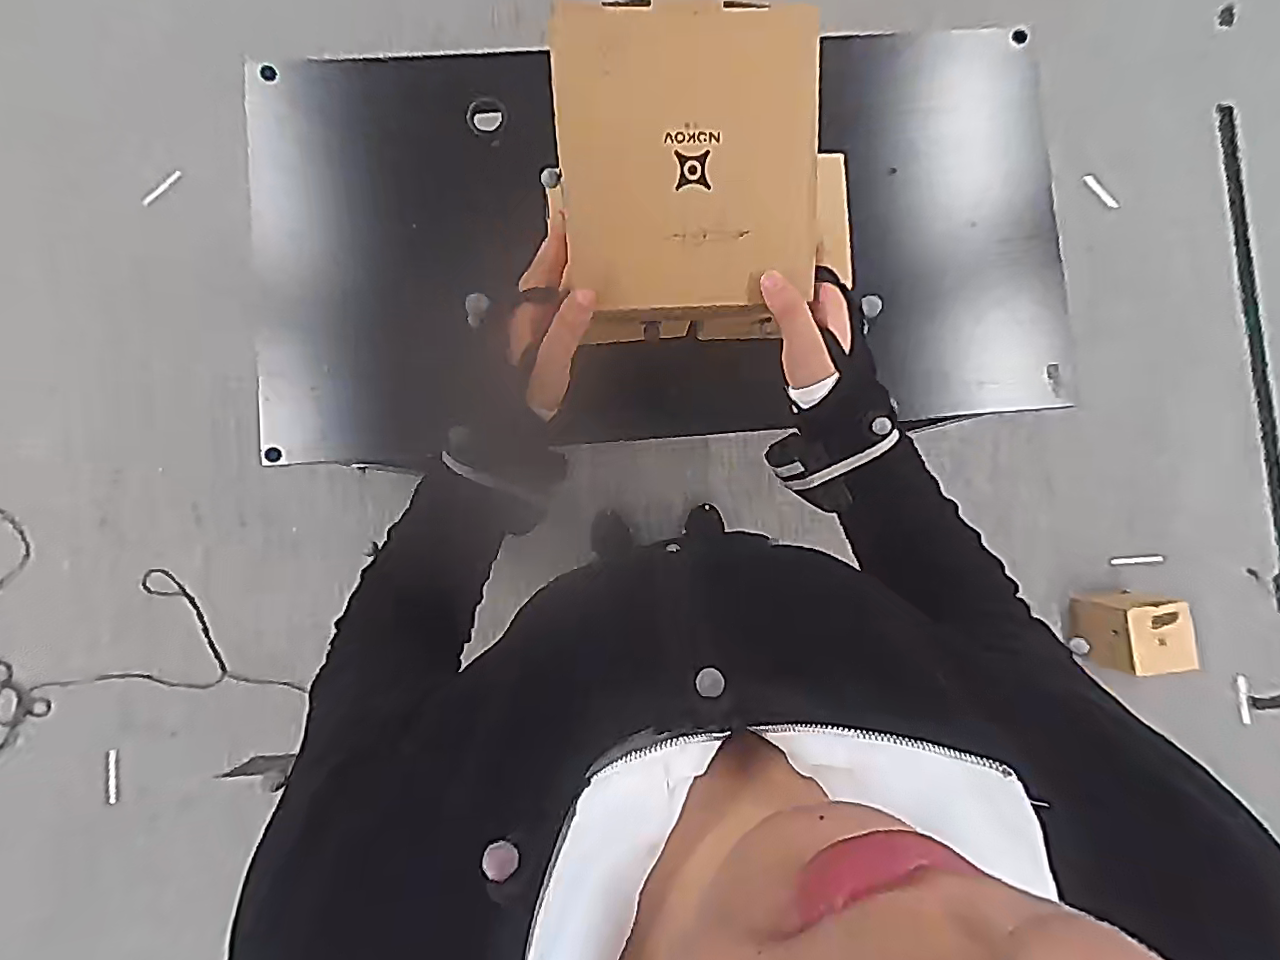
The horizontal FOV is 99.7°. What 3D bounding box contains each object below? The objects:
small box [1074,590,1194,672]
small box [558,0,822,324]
[{"bbox_3d":[1.318,0.397,1.457,0.168,0.176,0.179,-7,88,-2],"label":"small box"},{"bbox_3d":[0.024,-0.219,0.417,0.168,0.176,0.179,-4,104,-6],"label":"small box"}]
